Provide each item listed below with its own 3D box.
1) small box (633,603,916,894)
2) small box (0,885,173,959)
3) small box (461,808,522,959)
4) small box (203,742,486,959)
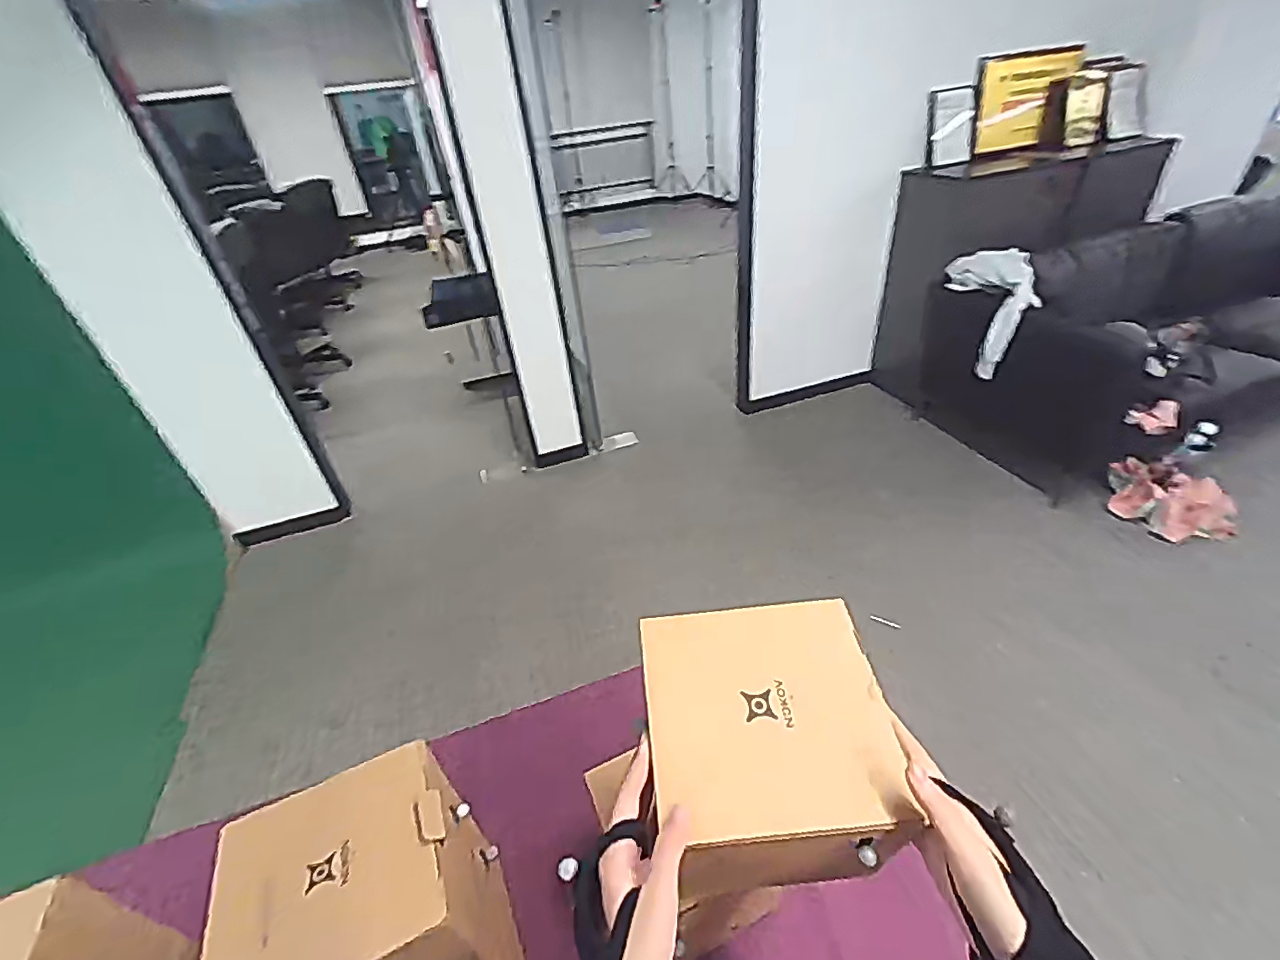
[{"bbox_3d":[0.092,0.226,0.455,0.179,0.176,0.168,-6,44,-1],"label":"small box"},{"bbox_3d":[-0.527,0.471,0.424,0.179,0.176,0.168,-18,38,-14],"label":"small box"},{"bbox_3d":[-0.235,0.517,0.594,0.168,0.176,0.179,-21,39,-18],"label":"small box"},{"bbox_3d":[-0.252,0.388,0.495,0.179,0.176,0.168,-21,38,-16],"label":"small box"}]
